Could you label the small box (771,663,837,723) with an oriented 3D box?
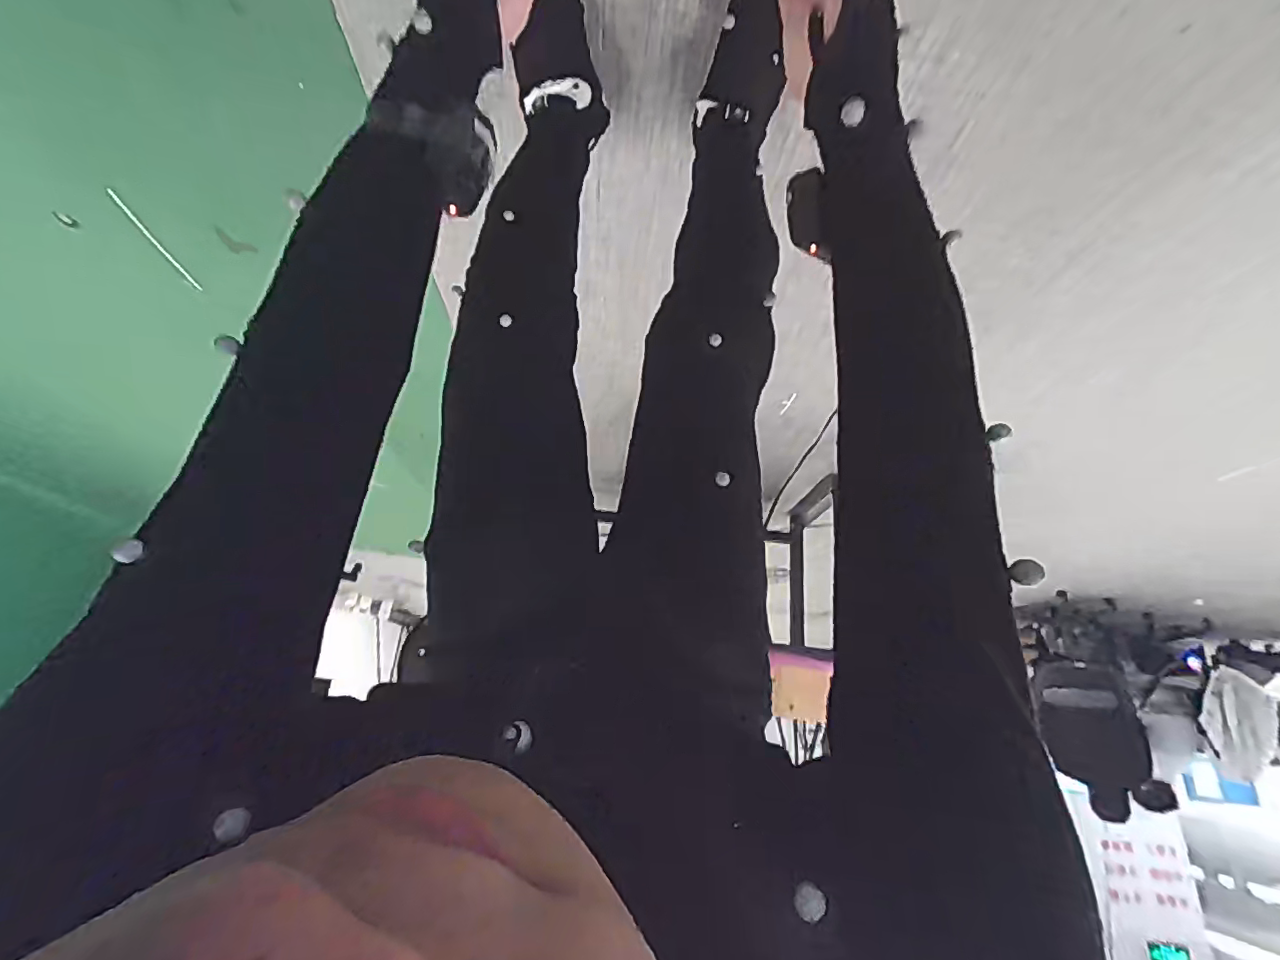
[{"bbox_3d":[0.563,0.730,1.865,0.179,0.176,0.168,8,160,-2],"label":"small box"}]
